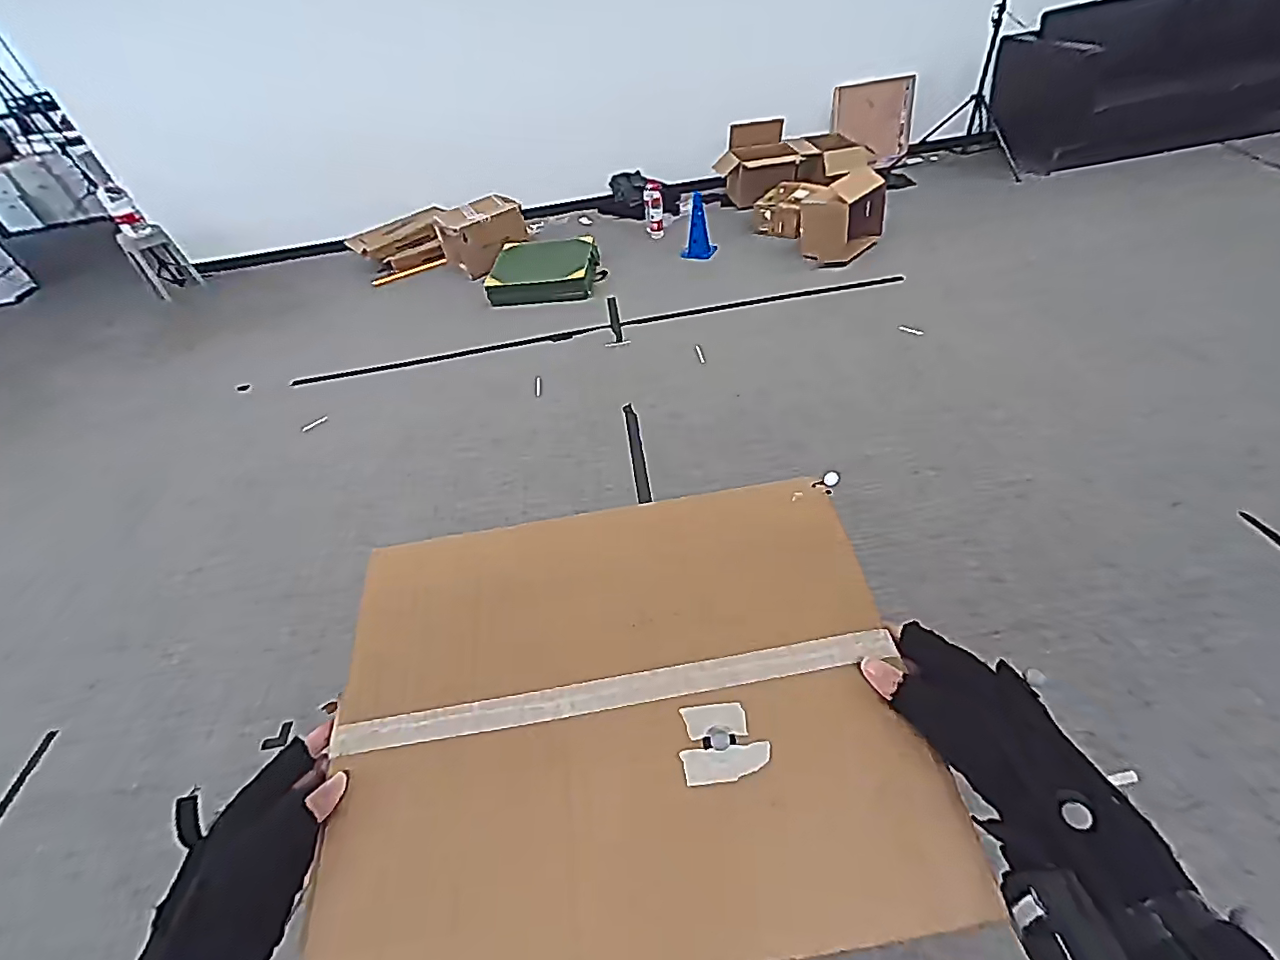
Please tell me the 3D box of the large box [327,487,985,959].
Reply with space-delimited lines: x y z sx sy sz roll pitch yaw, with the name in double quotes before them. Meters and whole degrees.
"large box" 0.000 0.249 0.519 0.408 0.320 0.320 -10 54 -1
